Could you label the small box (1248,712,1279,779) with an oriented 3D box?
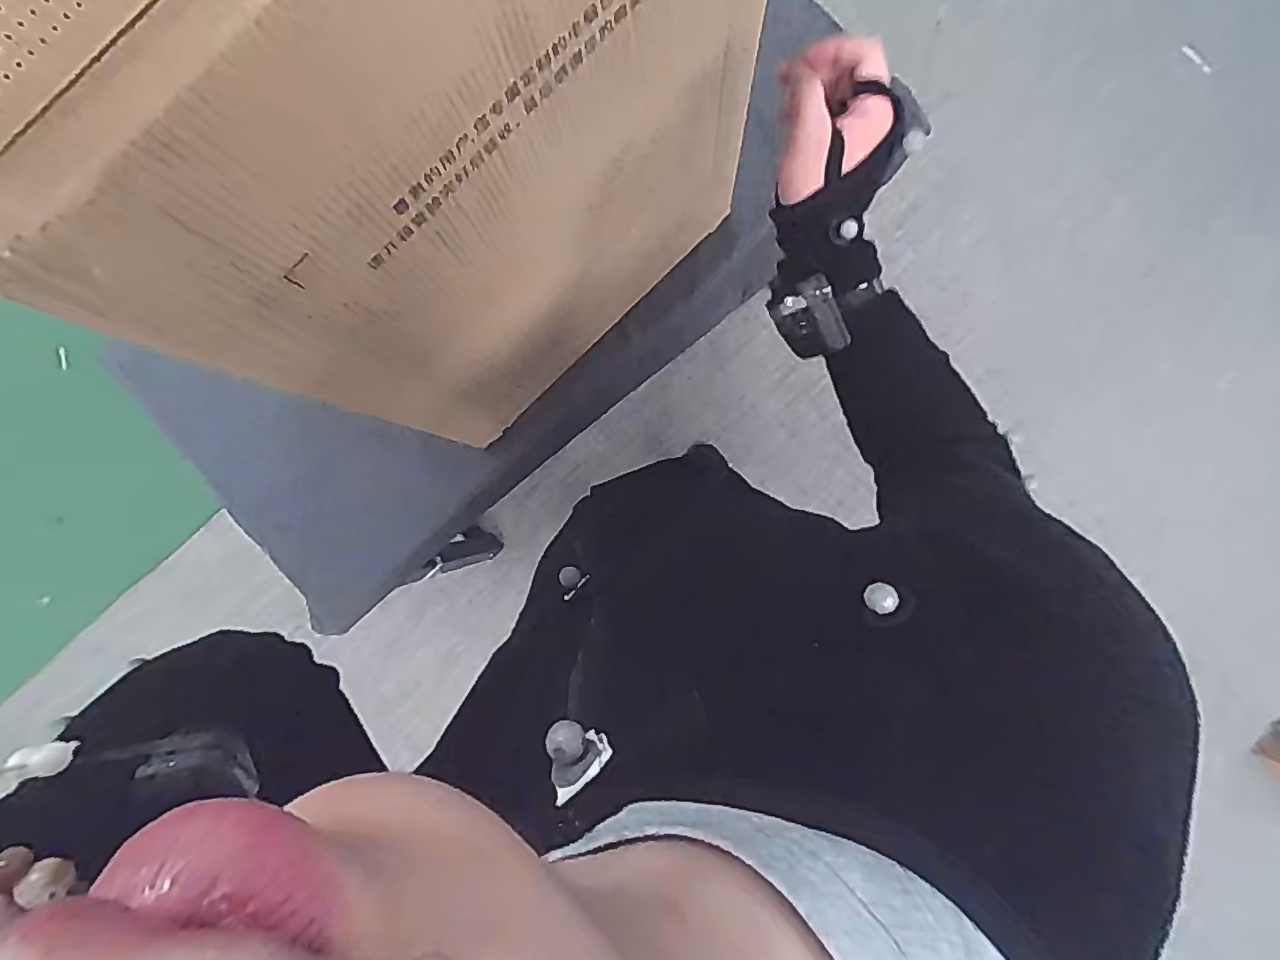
[{"bbox_3d":[1.717,0.704,1.346,0.168,0.176,0.179,-44,84,-1],"label":"small box"}]
